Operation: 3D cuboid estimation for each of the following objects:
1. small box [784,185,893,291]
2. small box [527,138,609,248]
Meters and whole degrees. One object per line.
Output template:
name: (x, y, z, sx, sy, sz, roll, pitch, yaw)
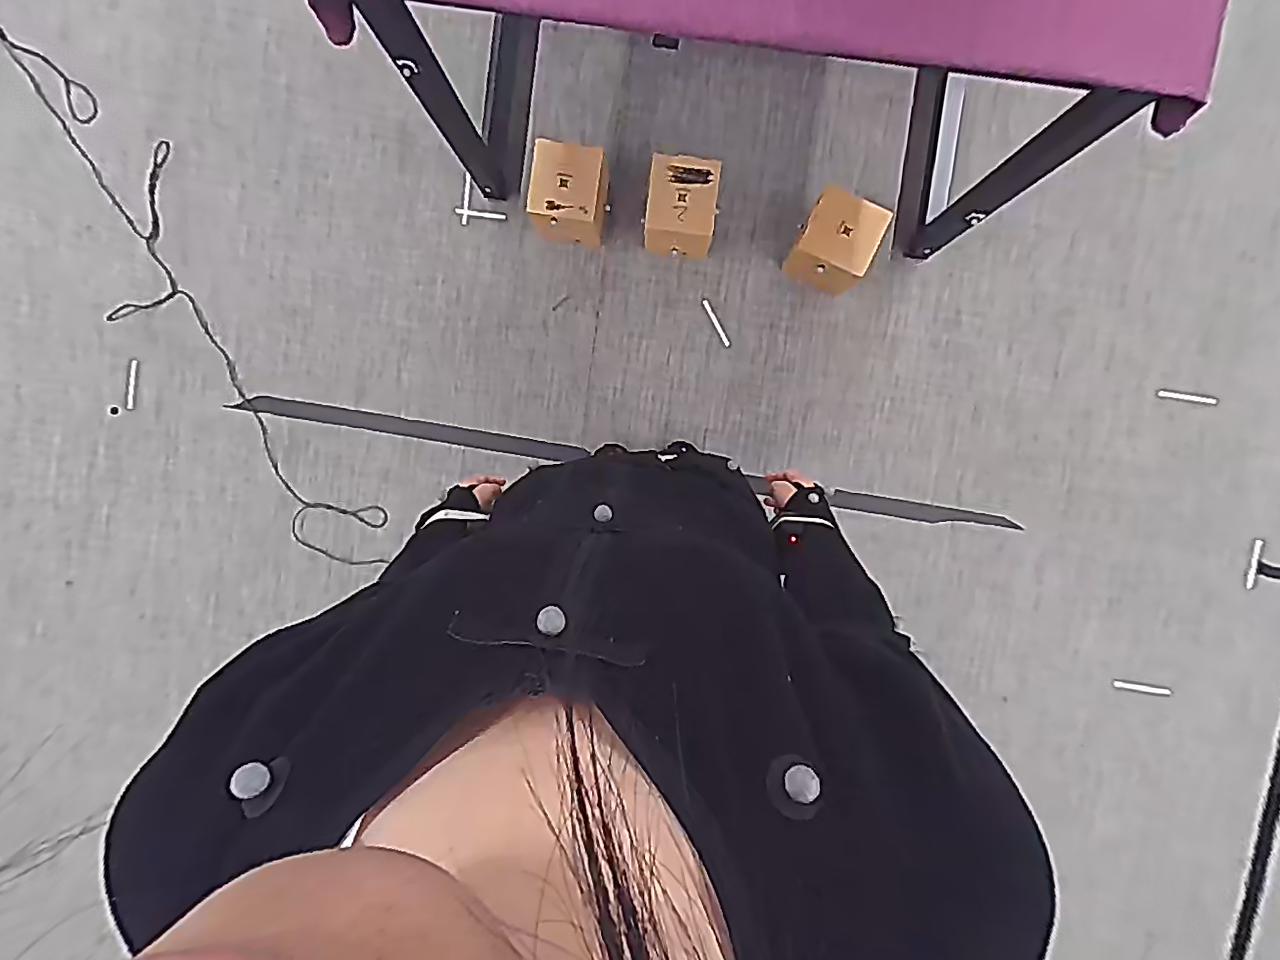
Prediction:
small box: (0.489, -0.594, 1.358, 0.179, 0.176, 0.168, 26, 95, 1)
small box: (-0.174, -0.716, 1.365, 0.168, 0.176, 0.179, 10, 92, 1)
